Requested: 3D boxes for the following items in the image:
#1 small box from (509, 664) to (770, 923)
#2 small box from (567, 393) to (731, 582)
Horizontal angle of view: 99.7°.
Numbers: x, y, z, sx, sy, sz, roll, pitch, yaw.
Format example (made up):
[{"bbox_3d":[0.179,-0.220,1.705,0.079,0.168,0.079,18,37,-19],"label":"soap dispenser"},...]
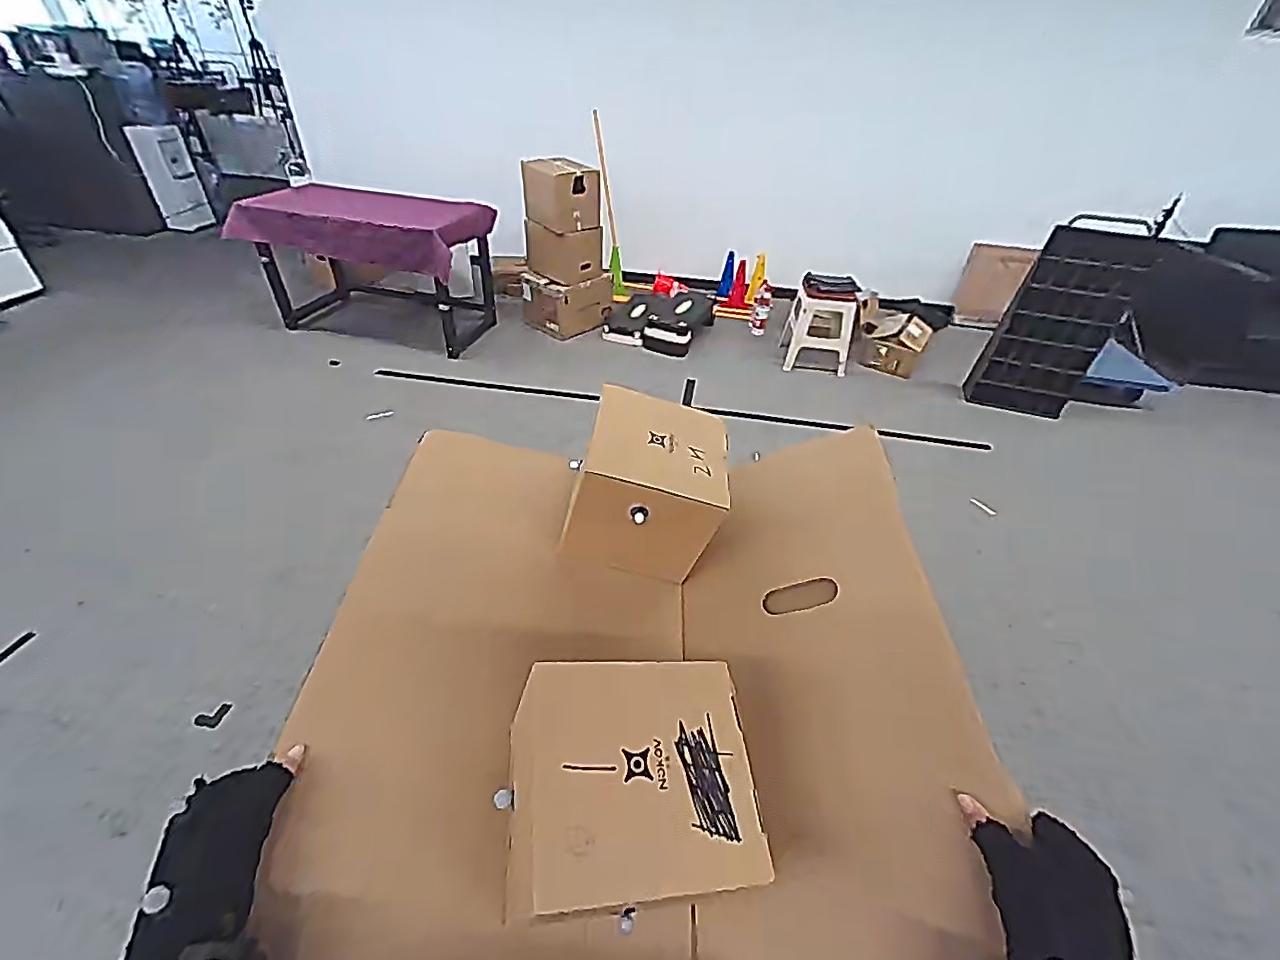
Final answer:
[{"bbox_3d":[-0.015,0.278,0.482,0.179,0.176,0.168,6,48,-16],"label":"small box"},{"bbox_3d":[0.009,0.016,0.732,0.179,0.176,0.168,16,46,-8],"label":"small box"}]
